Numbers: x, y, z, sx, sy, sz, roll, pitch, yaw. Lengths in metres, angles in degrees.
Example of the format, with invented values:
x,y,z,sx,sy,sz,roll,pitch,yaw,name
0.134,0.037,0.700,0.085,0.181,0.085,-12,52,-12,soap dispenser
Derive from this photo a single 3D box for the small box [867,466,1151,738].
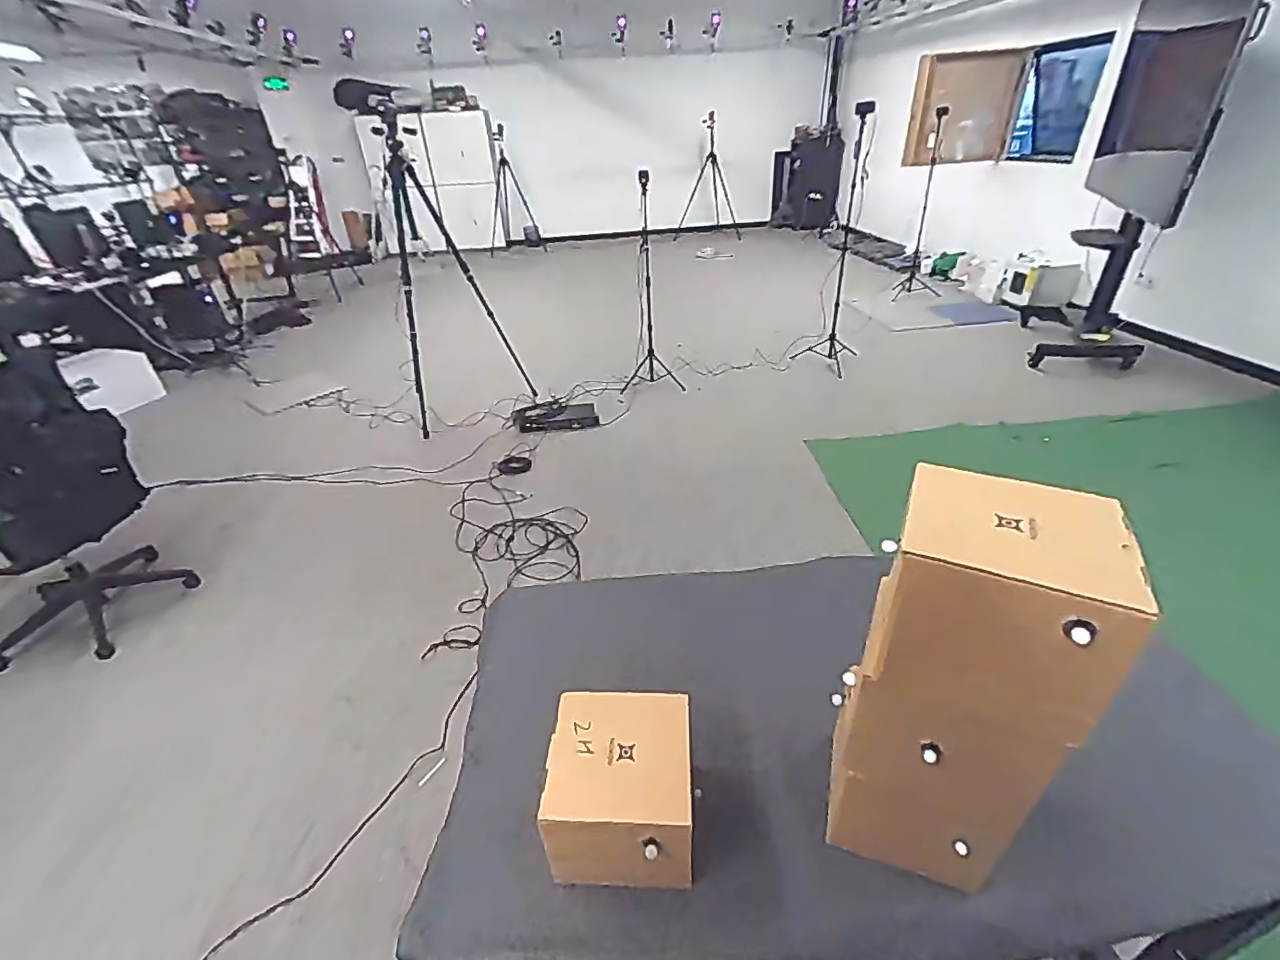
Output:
x,y,z,sx,sy,sz,roll,pitch,yaw,name
0.331,0.110,0.522,0.179,0.176,0.168,14,36,24,small box

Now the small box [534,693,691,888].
x,y,z,sx,sy,sz,roll,pitch,yaw,name
-0.024,0.403,0.706,0.179,0.176,0.168,-1,33,4,small box

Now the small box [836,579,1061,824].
x,y,z,sx,sy,sz,roll,pitch,yaw,name
0.336,0.246,0.611,0.179,0.176,0.168,13,36,25,small box
